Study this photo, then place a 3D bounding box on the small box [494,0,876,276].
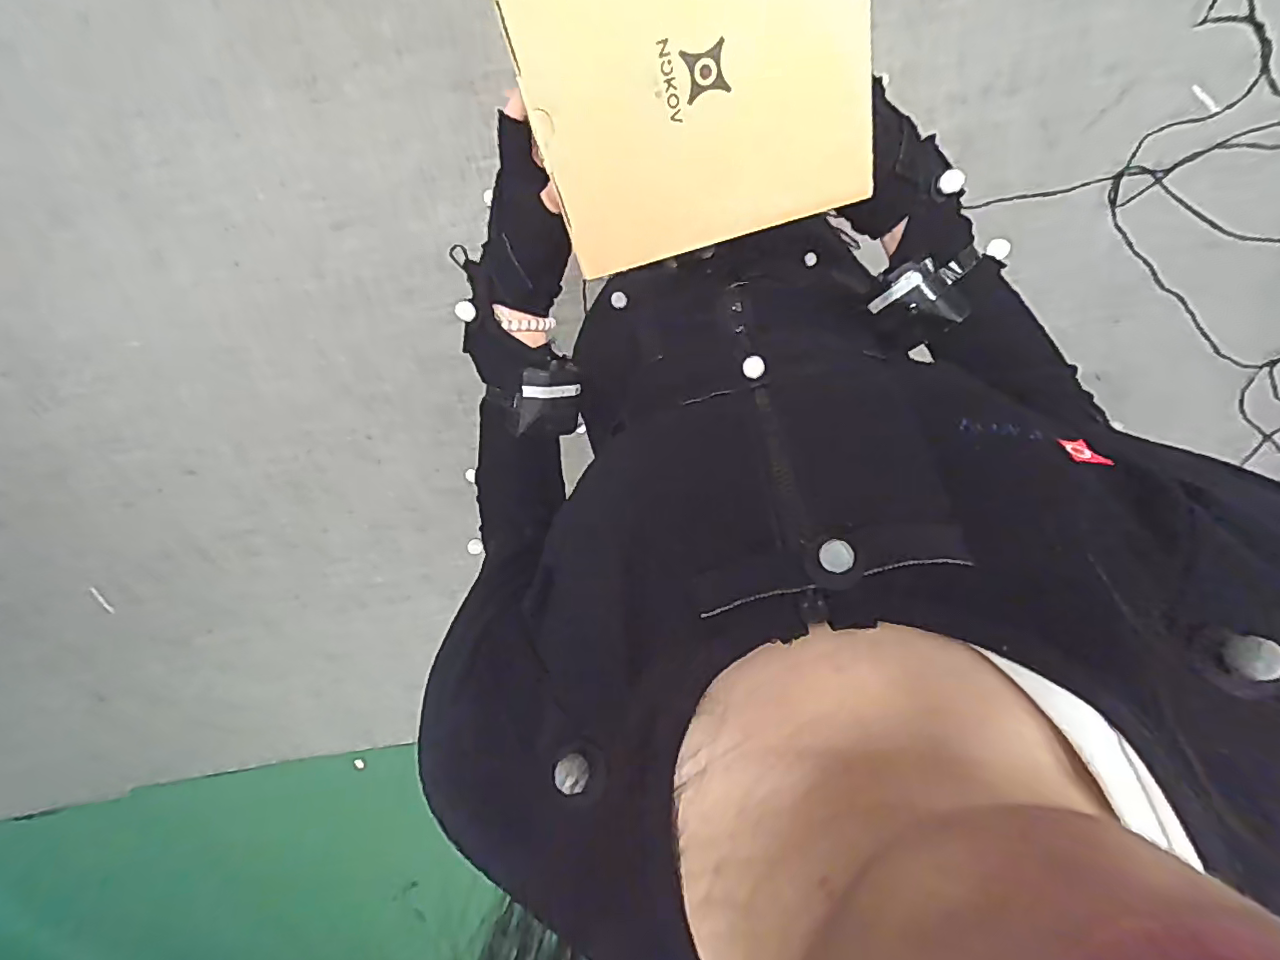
[{"bbox_3d":[0.024,-0.251,0.331,0.179,0.176,0.168,-14,126,7],"label":"small box"}]
